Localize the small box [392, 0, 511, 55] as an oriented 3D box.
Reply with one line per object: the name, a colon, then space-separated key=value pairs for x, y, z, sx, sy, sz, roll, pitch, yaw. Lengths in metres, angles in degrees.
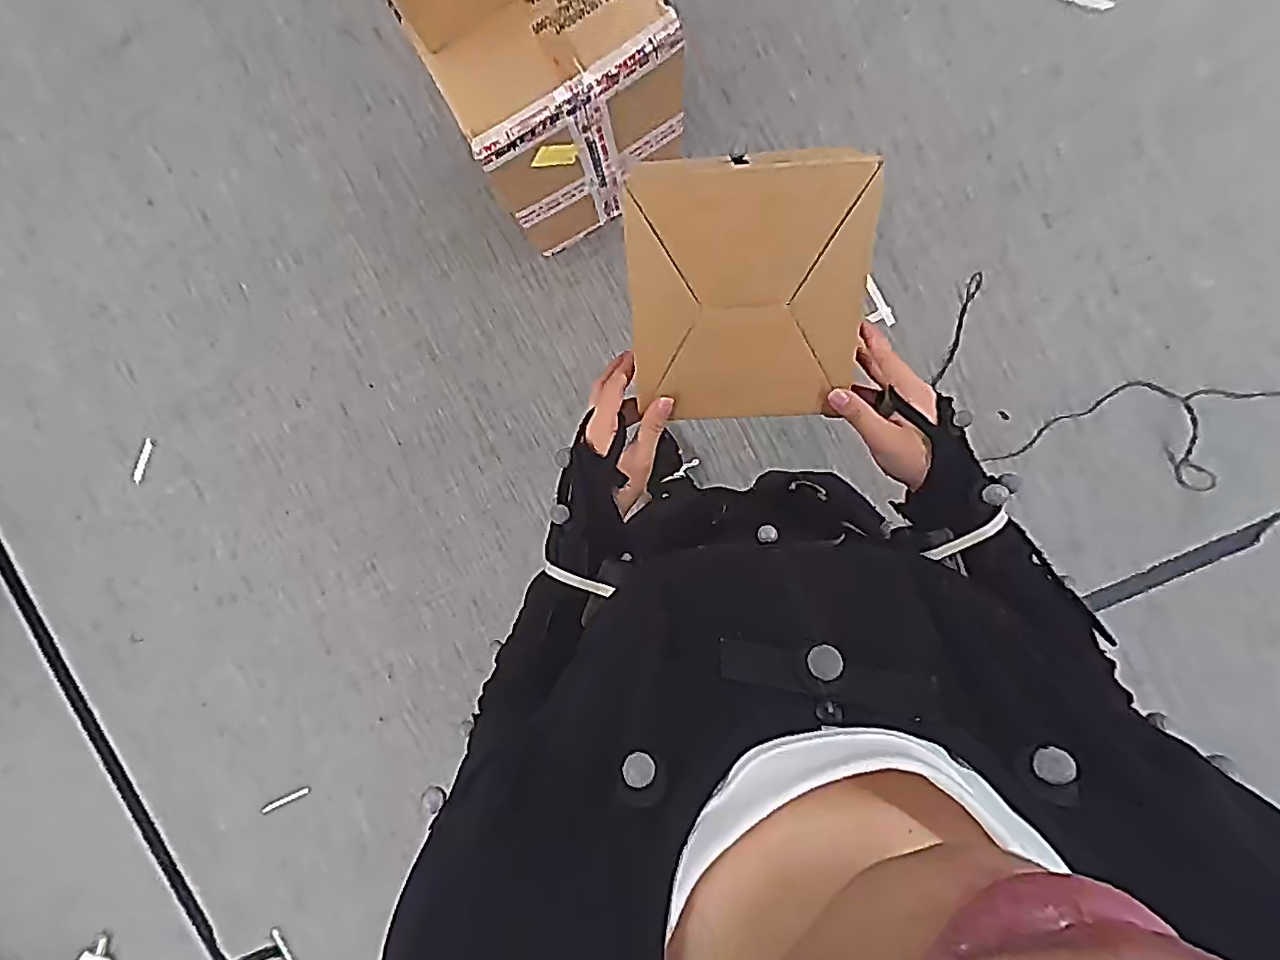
small box: x=-0.306 y=-0.791 z=0.792 sx=0.179 sy=0.176 sz=0.168 roll=-27 pitch=92 yaw=8
